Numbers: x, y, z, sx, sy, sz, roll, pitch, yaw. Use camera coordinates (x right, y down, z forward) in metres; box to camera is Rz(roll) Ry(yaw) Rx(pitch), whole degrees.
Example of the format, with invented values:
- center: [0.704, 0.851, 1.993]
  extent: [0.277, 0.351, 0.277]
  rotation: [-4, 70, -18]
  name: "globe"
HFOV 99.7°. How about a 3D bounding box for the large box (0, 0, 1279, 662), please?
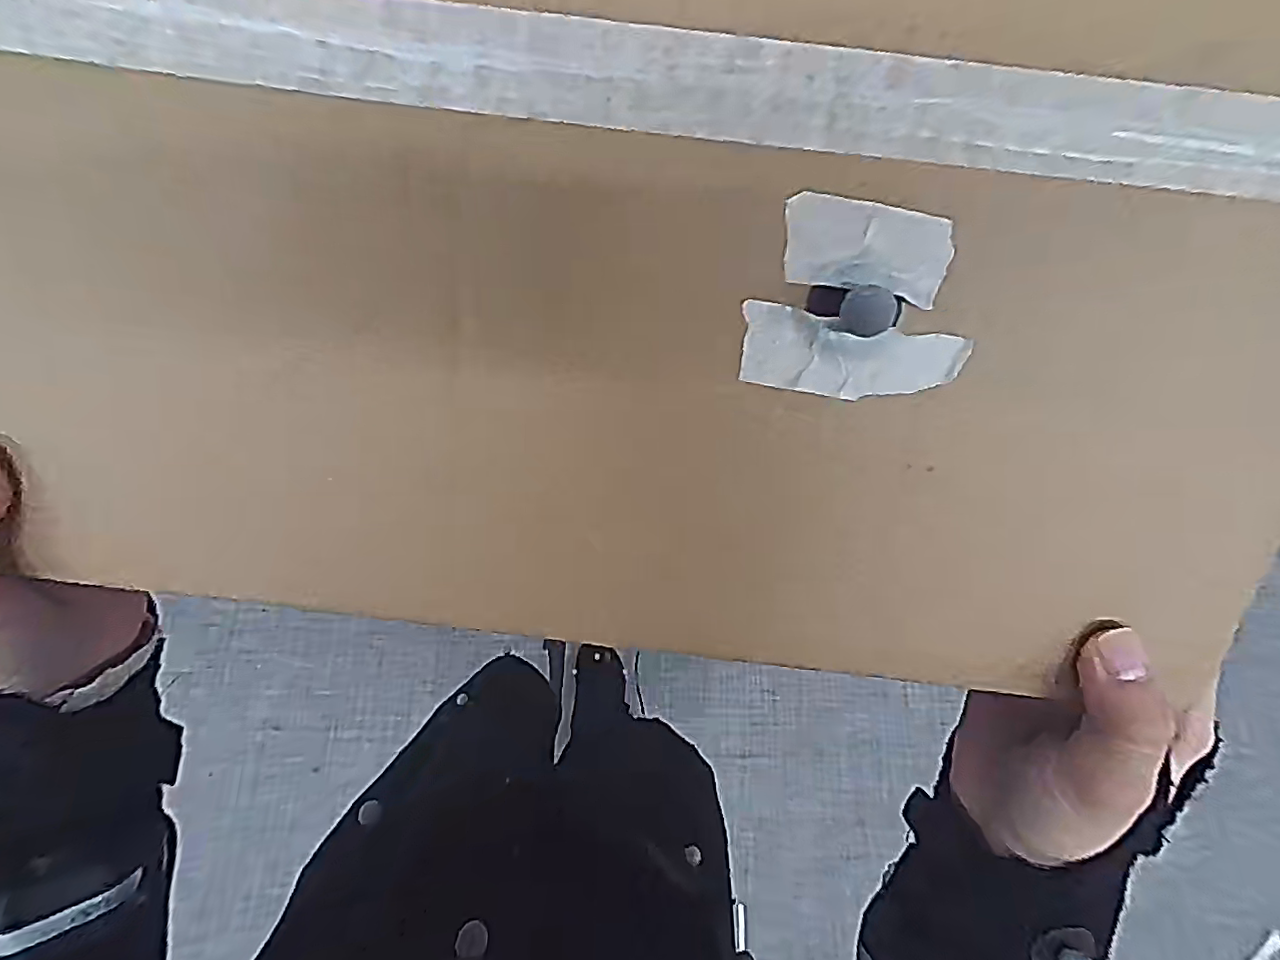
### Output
- center: [-0.001, -0.140, 0.288]
  extent: [0.408, 0.320, 0.320]
  rotation: [6, 107, -1]
  name: "large box"
